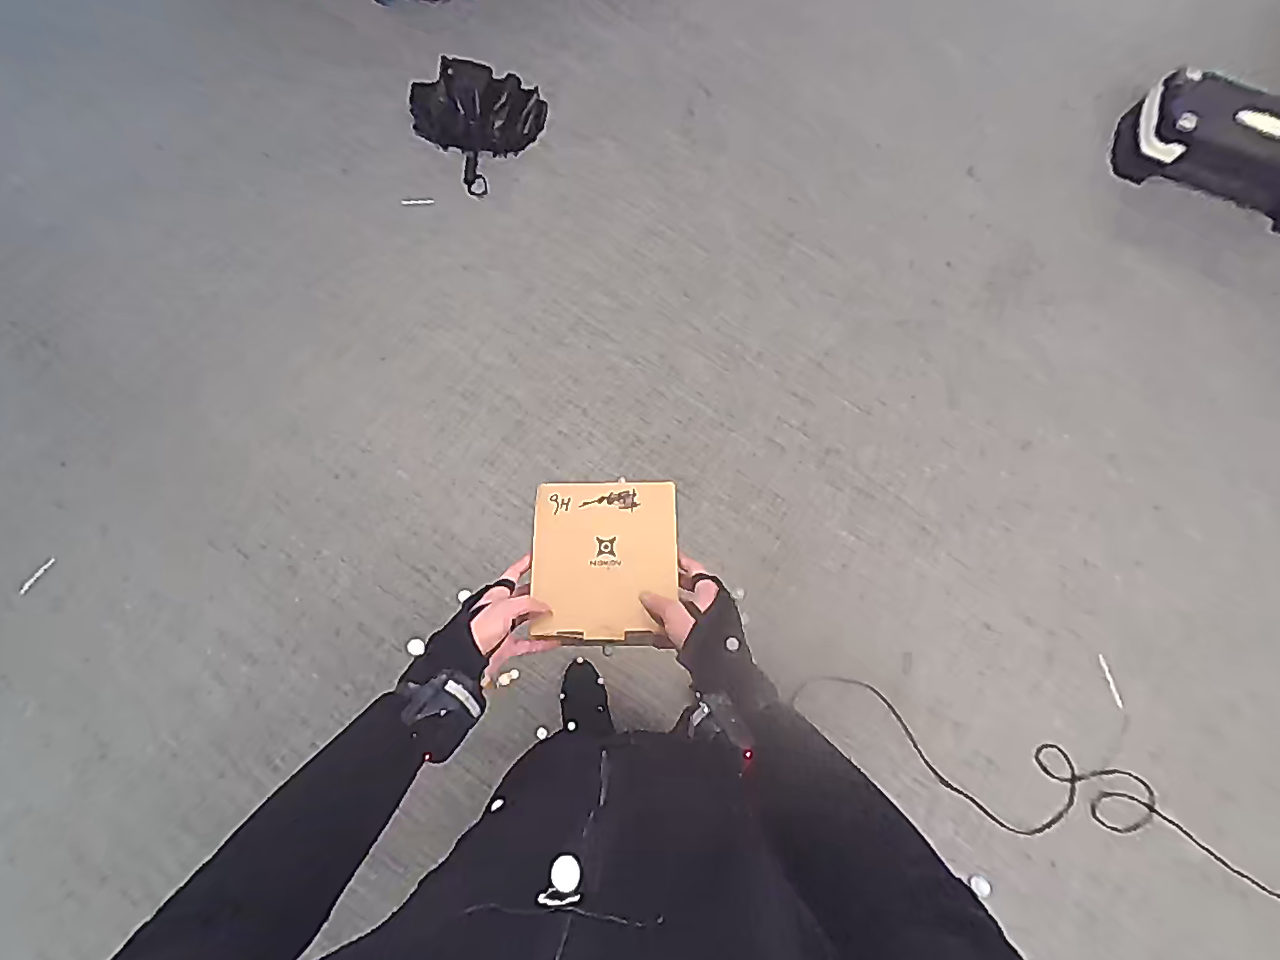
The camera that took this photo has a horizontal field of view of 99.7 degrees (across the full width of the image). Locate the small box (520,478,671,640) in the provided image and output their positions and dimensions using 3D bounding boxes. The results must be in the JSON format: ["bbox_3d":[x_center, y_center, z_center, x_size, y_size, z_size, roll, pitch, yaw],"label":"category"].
[{"bbox_3d":[-0.044,0.108,0.681,0.168,0.176,0.179,-1,69,2],"label":"small box"}]
